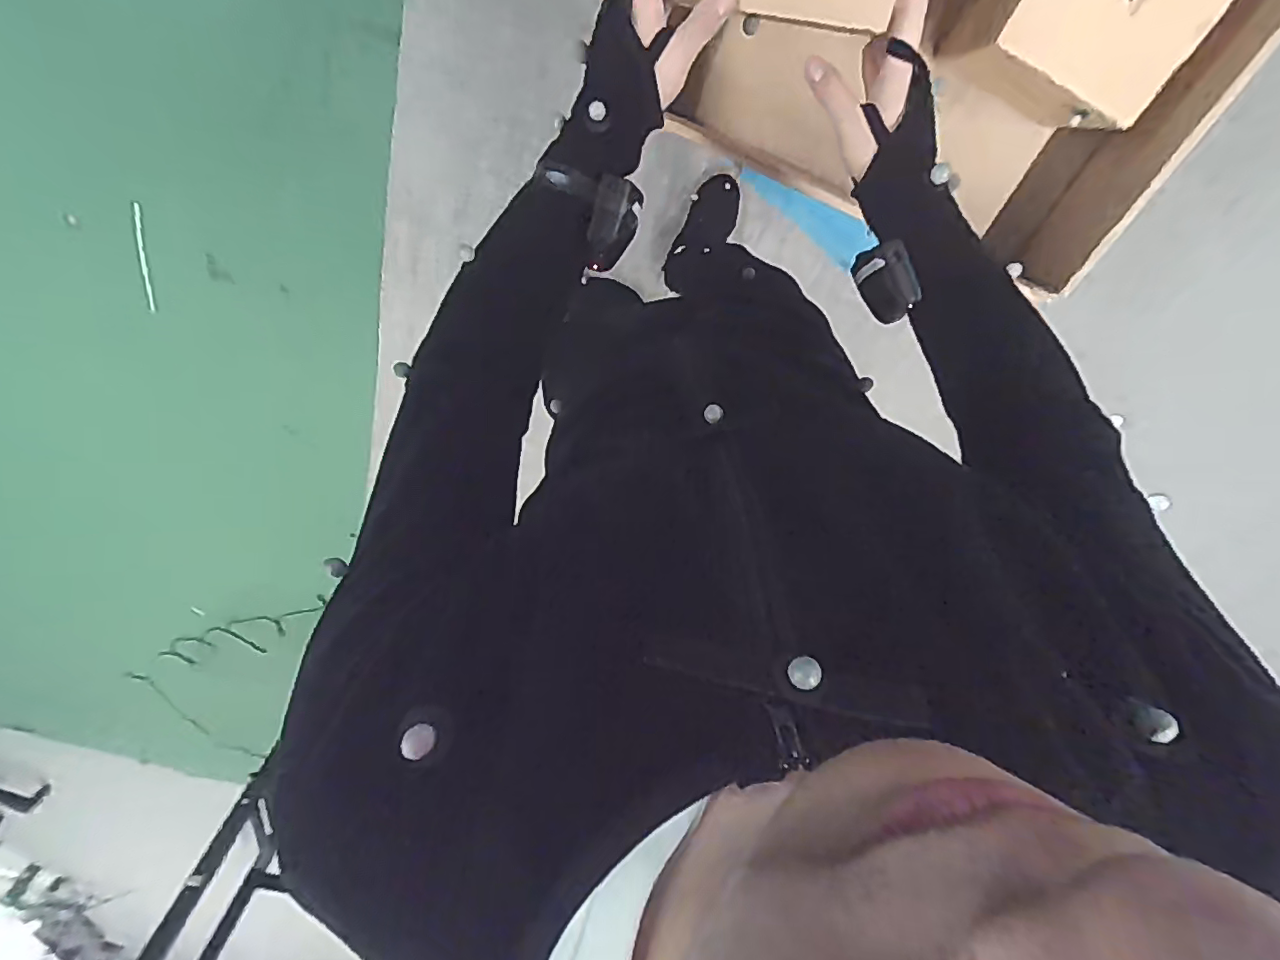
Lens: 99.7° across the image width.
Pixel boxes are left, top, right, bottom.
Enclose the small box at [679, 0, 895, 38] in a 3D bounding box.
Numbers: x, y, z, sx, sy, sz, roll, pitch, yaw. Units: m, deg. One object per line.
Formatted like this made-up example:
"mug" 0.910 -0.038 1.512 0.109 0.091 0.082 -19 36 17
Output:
"small box" 0.126 -0.470 0.431 0.179 0.176 0.168 10 130 1
